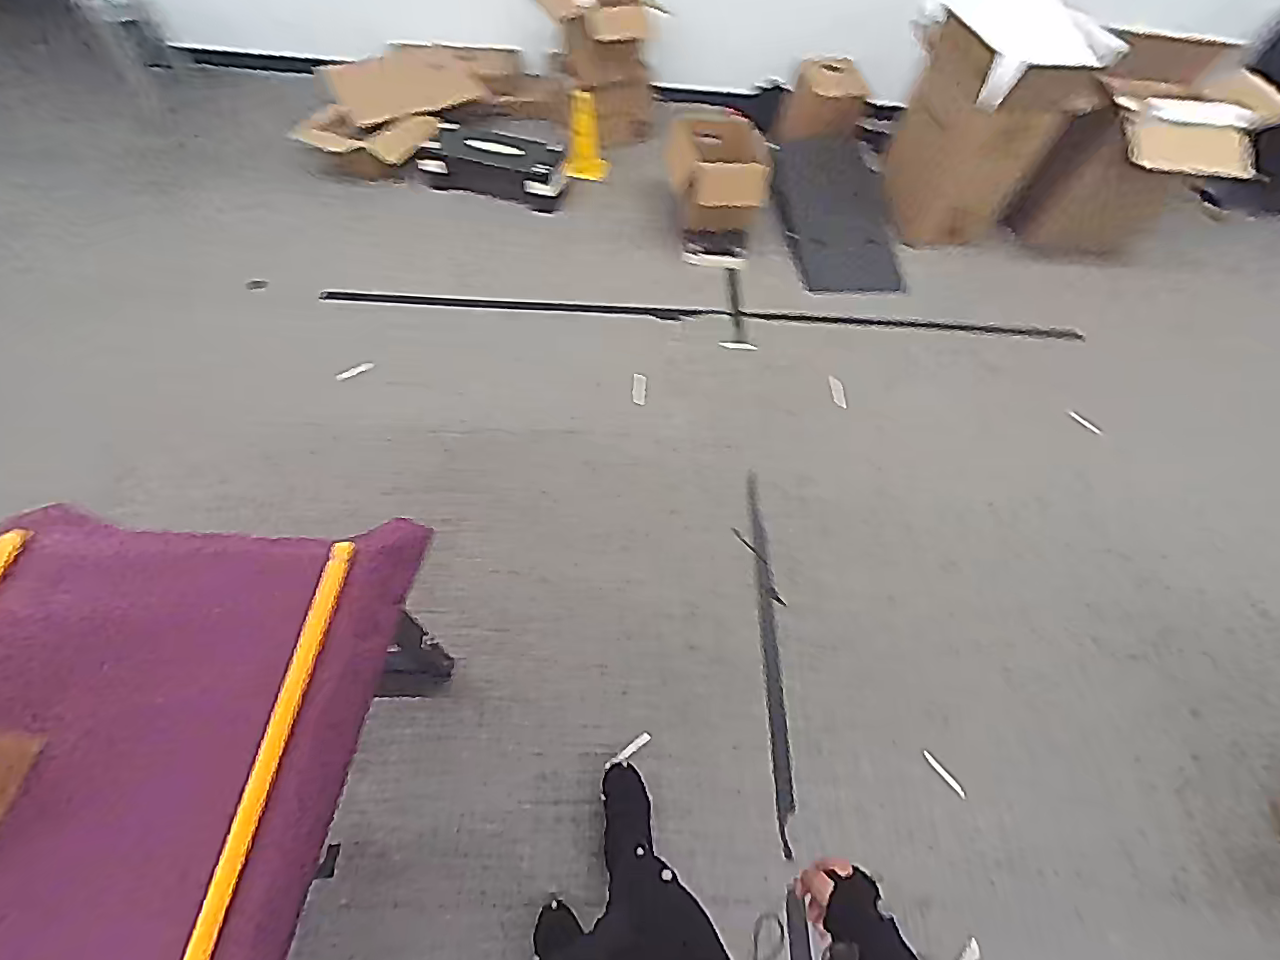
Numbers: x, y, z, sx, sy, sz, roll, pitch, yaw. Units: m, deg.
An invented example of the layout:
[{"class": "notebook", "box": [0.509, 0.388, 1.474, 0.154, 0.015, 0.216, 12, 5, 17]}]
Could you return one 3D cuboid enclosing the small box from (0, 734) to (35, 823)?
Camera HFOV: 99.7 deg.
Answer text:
[{"class": "small box", "box": [-0.893, 0.384, 0.629, 0.168, 0.176, 0.179, 4, 58, -3]}]
